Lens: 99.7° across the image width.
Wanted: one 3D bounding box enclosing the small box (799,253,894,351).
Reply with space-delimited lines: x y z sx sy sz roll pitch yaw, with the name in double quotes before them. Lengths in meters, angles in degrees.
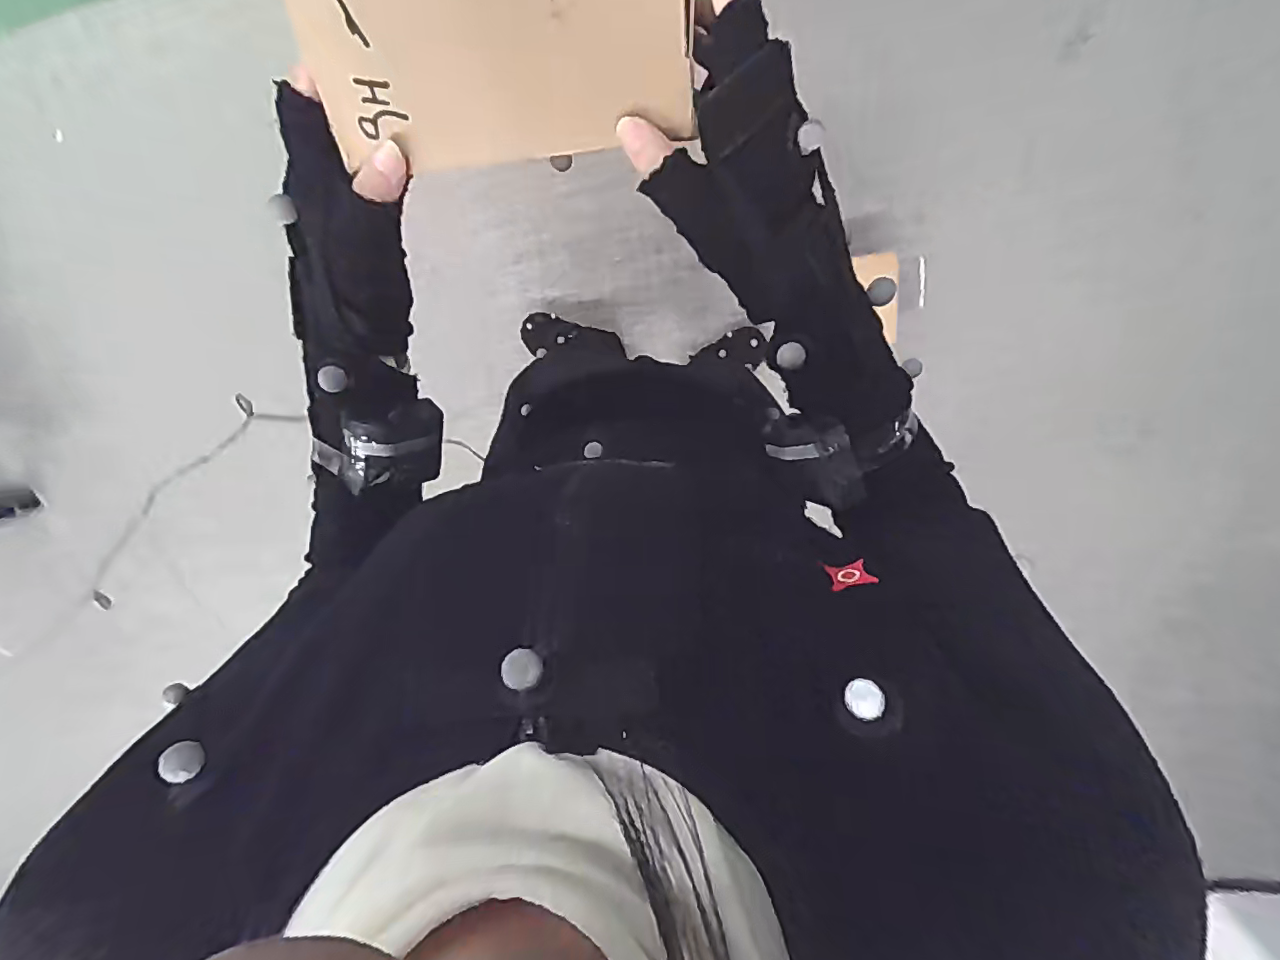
"small box" 0.450 -0.394 1.190 0.168 0.176 0.179 -7 109 10
